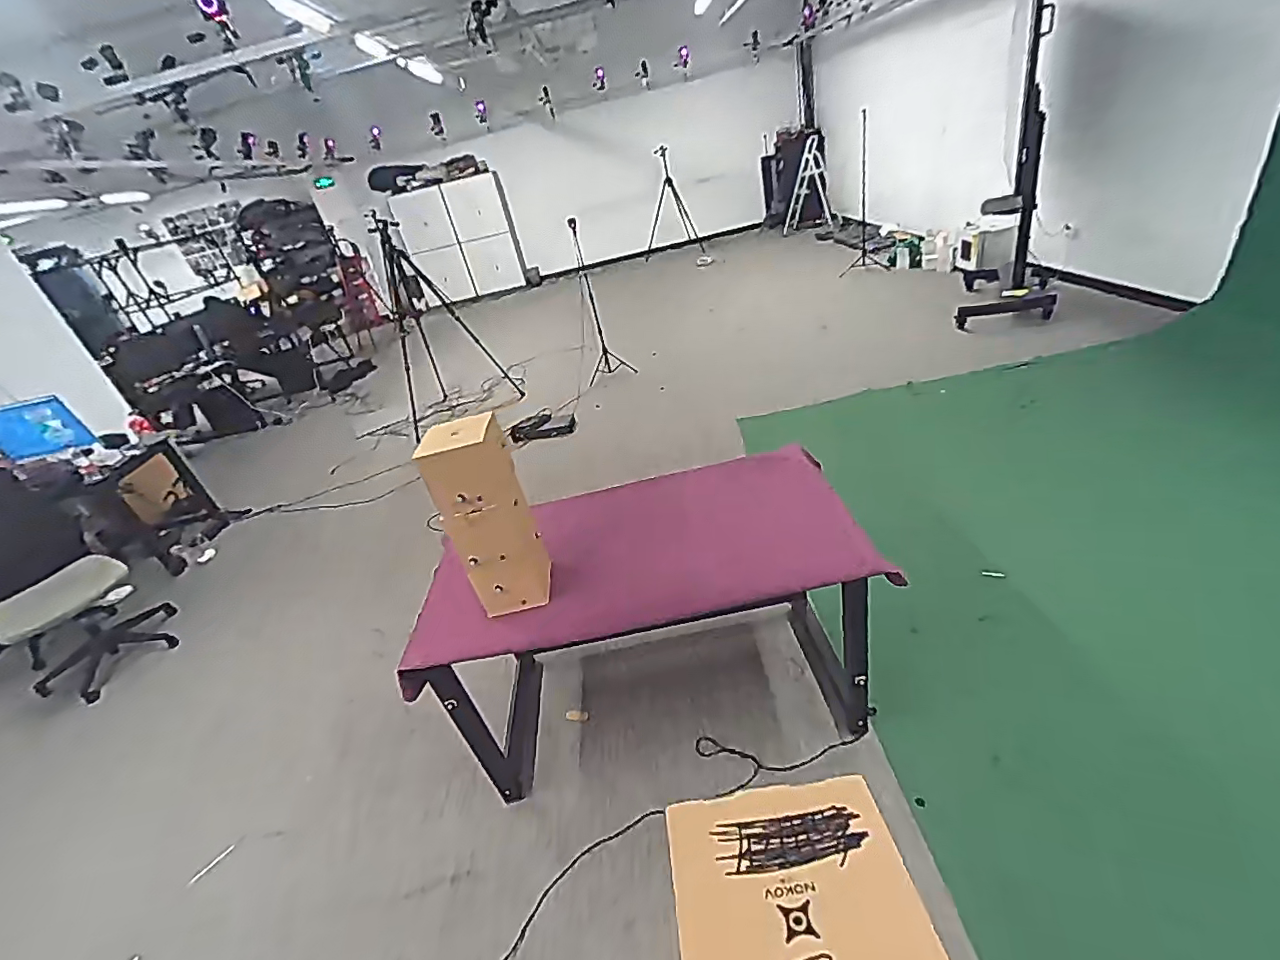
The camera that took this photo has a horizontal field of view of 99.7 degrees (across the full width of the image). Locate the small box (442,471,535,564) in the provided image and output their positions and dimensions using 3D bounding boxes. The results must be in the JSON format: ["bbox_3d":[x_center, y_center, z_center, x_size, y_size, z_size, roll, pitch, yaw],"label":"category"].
[{"bbox_3d":[-0.374,0.096,1.371,0.168,0.176,0.179,-13,29,2],"label":"small box"}]

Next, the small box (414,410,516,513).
[{"bbox_3d":[-0.407,-0.045,1.296,0.168,0.176,0.179,-14,30,2],"label":"small box"}]

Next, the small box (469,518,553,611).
[{"bbox_3d":[-0.339,0.232,1.456,0.168,0.176,0.179,-14,30,1],"label":"small box"}]

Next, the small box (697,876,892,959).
[{"bbox_3d":[0.148,0.498,0.478,0.168,0.176,0.179,-9,24,5],"label":"small box"}]
